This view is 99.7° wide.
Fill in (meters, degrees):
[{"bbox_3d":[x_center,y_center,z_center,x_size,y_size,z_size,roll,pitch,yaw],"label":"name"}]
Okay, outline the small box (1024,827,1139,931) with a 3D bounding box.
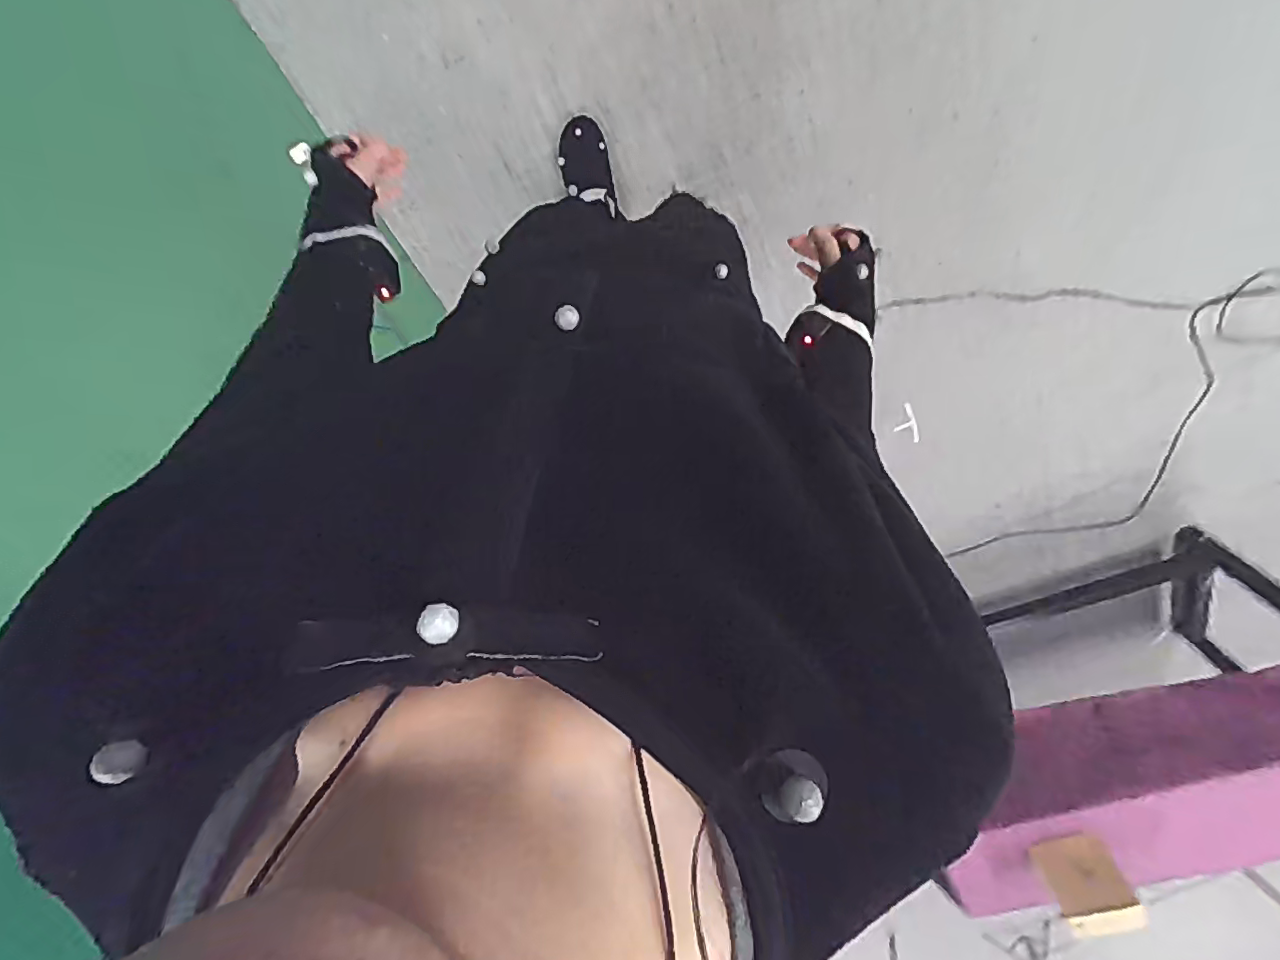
[{"bbox_3d":[1.174,1.060,1.442,0.179,0.176,0.168,-26,120,15],"label":"small box"}]
